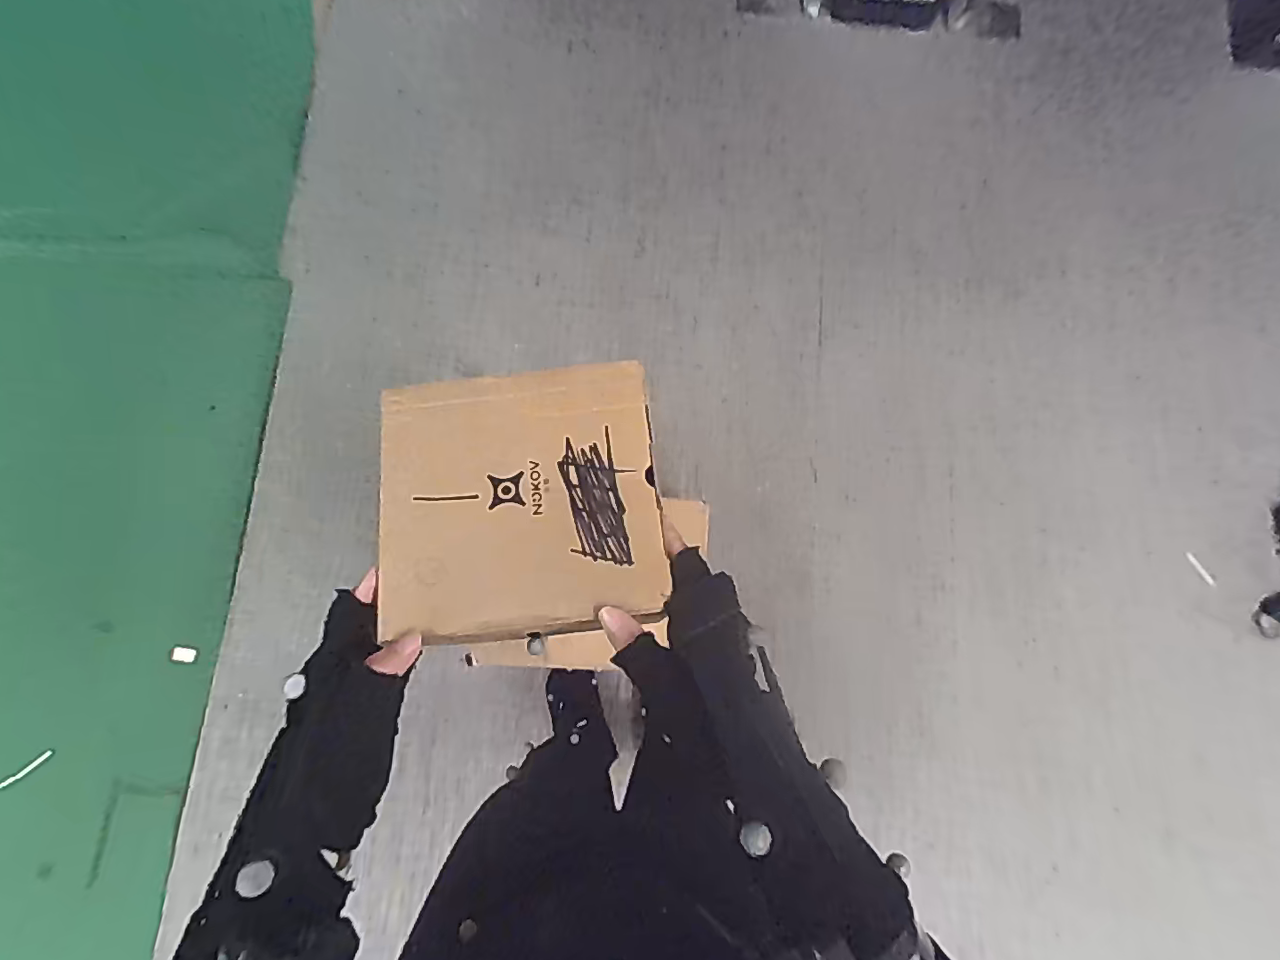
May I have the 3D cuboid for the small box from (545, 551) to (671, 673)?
[{"bbox_3d":[-0.050,0.207,0.880,0.179,0.176,0.168,5,82,-2],"label":"small box"}]
